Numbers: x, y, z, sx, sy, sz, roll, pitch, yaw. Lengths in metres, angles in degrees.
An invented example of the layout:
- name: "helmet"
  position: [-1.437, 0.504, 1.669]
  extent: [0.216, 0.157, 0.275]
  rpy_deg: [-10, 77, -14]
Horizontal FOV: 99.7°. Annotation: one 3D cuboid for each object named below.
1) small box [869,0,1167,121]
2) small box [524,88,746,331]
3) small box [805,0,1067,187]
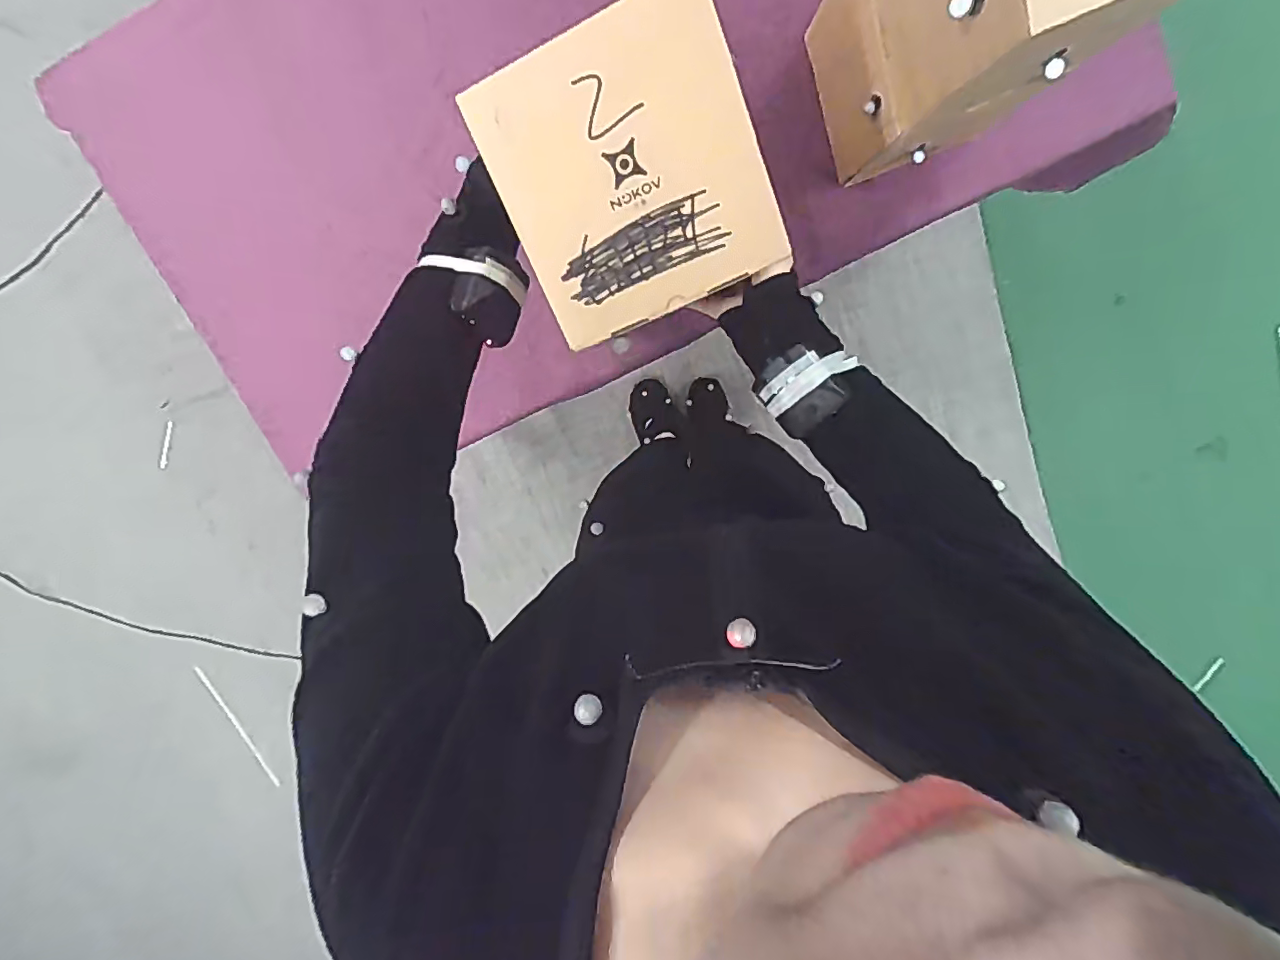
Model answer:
- name: "small box"
  position: [0.289, -0.407, 0.404]
  extent: [0.168, 0.176, 0.179]
  rpy_deg: [-20, 102, 5]
- name: "small box"
  position: [0.004, -0.275, 0.589]
  extent: [0.179, 0.176, 0.168]
  rpy_deg: [-18, 108, 11]
- name: "small box"
  position: [0.290, -0.444, 0.565]
  extent: [0.168, 0.176, 0.179]
  rpy_deg: [-19, 103, 5]
